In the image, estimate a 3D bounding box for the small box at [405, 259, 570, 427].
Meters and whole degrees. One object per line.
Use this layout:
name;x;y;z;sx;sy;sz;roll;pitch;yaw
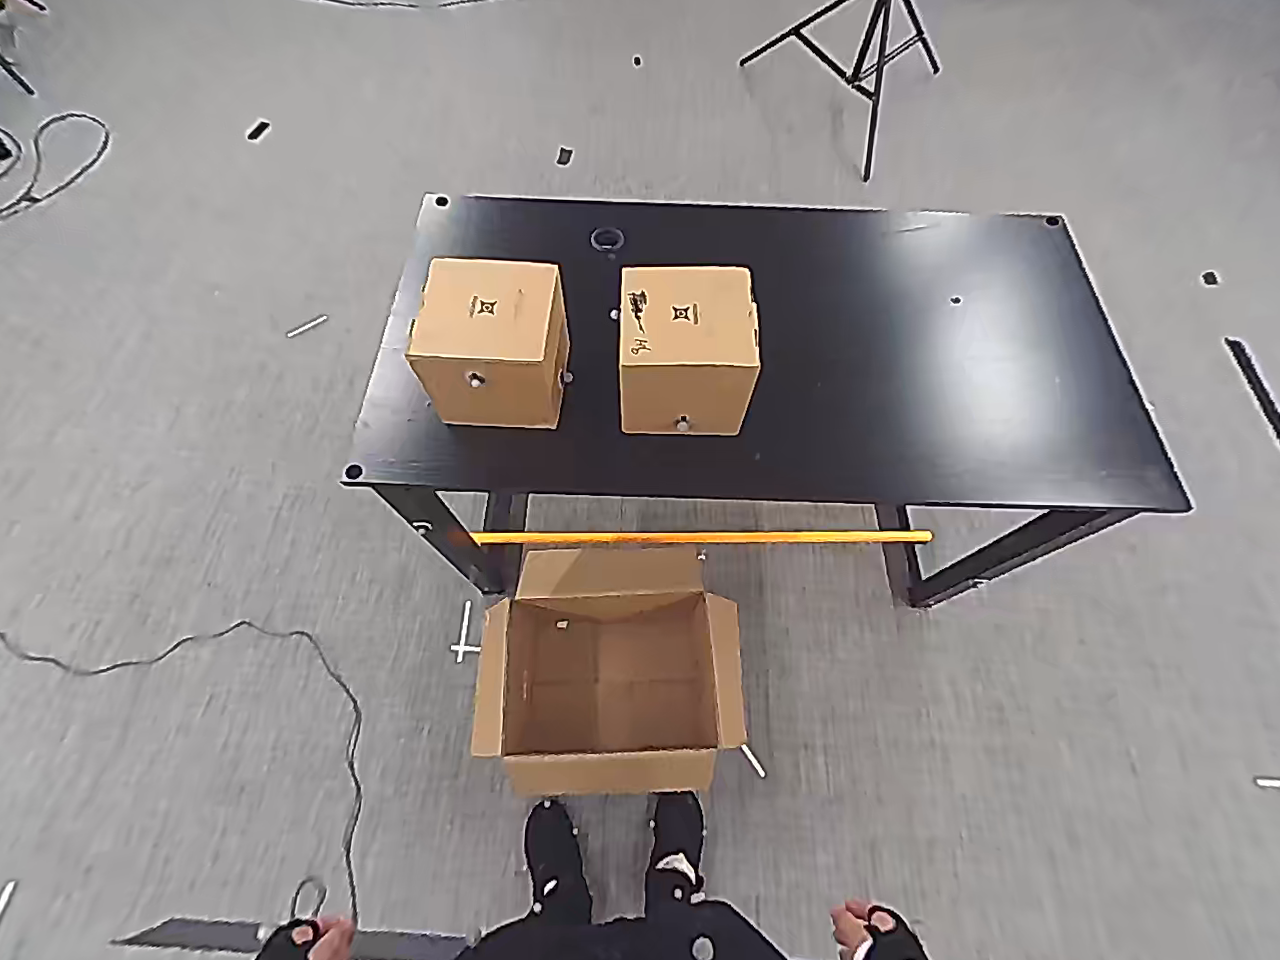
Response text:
small box;-0.201;-0.187;0.769;0.179;0.176;0.168;3;65;0

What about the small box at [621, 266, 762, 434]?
small box;0.063;-0.176;0.766;0.179;0.176;0.168;1;64;-1
